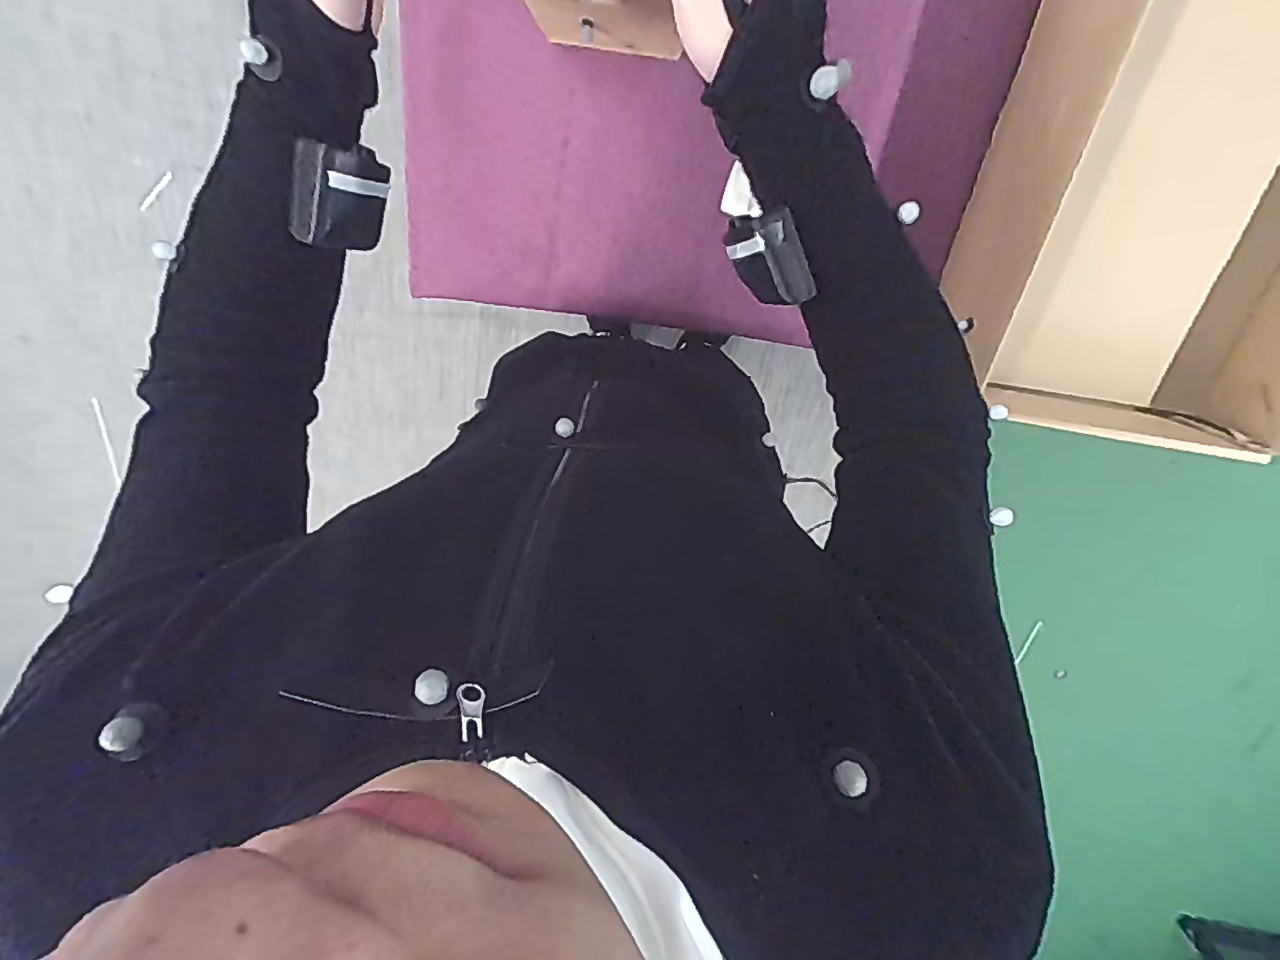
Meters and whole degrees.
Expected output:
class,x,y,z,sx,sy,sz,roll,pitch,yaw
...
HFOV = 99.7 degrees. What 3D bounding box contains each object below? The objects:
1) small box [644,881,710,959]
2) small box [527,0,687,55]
class,x,y,z,sx,sy,sz,roll,pitch,yaw
small box,0.121,1.440,1.741,0.168,0.176,0.179,-20,110,10
small box,-0.025,-0.581,0.567,0.168,0.176,0.179,8,114,-1
